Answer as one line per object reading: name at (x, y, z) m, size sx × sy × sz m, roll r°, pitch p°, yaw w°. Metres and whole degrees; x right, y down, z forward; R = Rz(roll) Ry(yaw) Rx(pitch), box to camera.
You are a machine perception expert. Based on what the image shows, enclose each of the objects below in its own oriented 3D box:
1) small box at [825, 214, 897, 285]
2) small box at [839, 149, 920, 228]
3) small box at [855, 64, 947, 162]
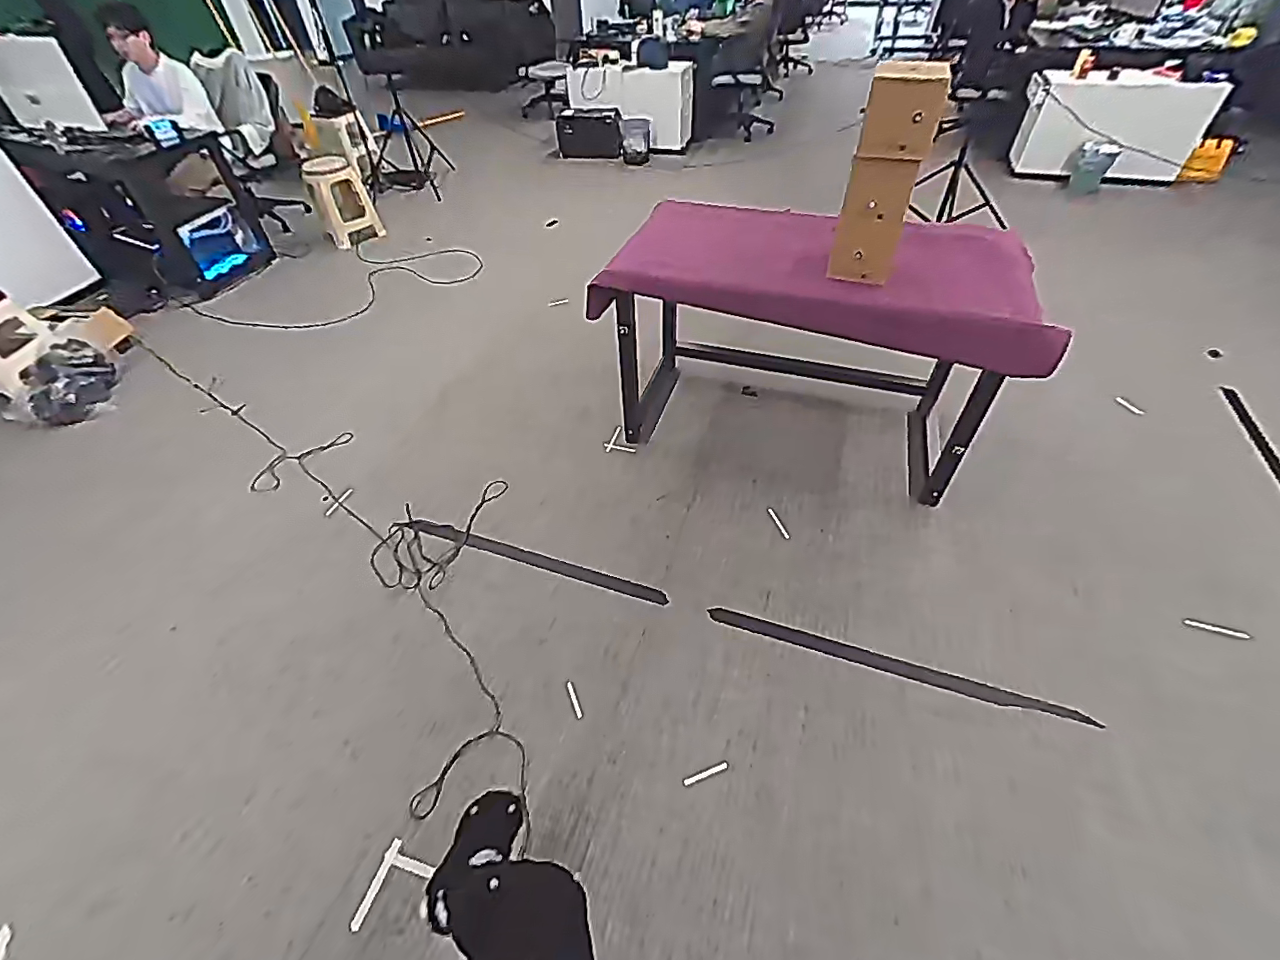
small box at (0.649, -0.691, 1.580) m, size 0.168 × 0.176 × 0.179 m, roll 15°, pitch 49°, yaw 16°
small box at (0.647, -0.806, 1.463) m, size 0.168 × 0.176 × 0.179 m, roll 15°, pitch 49°, yaw 16°
small box at (0.636, -0.903, 1.331) m, size 0.168 × 0.176 × 0.179 m, roll 13°, pitch 48°, yaw 14°
